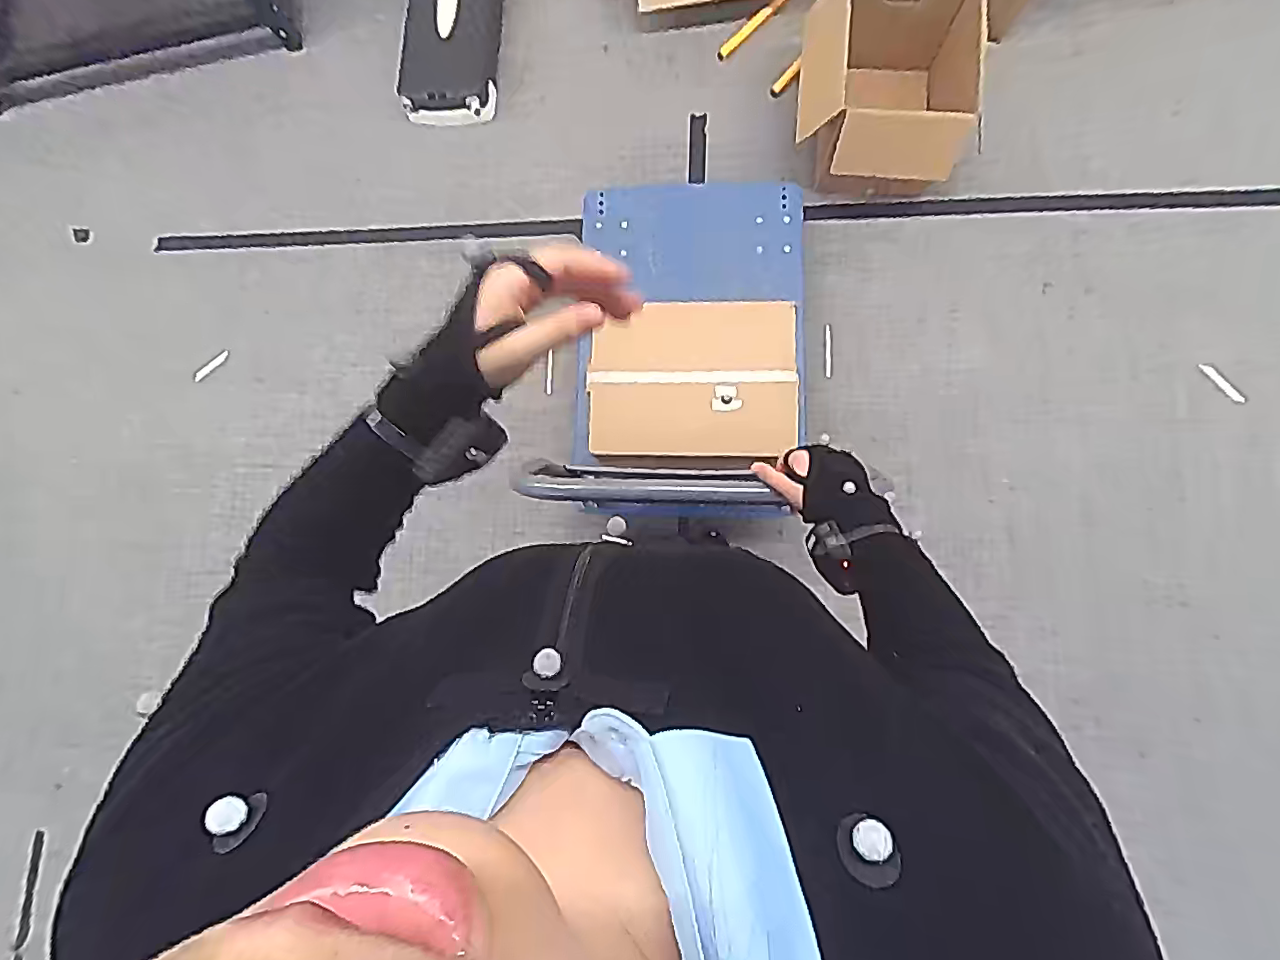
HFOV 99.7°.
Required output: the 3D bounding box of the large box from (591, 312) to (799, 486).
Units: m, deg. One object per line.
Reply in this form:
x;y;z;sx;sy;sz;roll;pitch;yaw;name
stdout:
0.111;-0.158;1.198;0.408;0.320;0.320;1;83;4;large box
